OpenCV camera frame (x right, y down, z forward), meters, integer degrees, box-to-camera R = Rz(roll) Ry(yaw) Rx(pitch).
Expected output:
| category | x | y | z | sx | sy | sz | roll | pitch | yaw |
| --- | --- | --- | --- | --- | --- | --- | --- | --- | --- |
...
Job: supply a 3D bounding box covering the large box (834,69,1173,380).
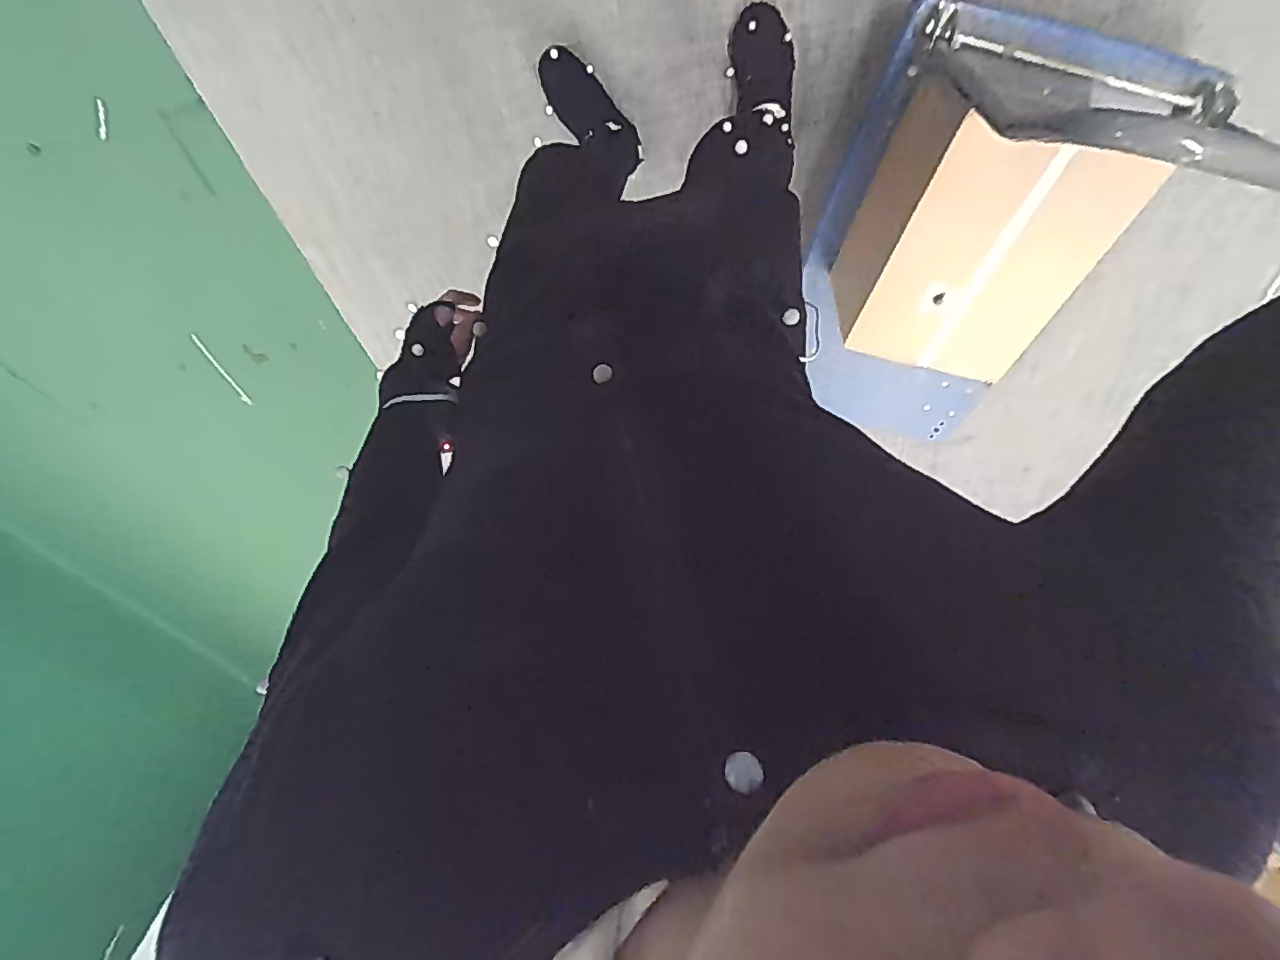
| category | x | y | z | sx | sy | sz | roll | pitch | yaw |
| --- | --- | --- | --- | --- | --- | --- | --- | --- | --- |
| large box | 0.601 | -0.463 | 1.003 | 0.320 | 0.320 | 0.408 | 14 | 137 | -1 |
